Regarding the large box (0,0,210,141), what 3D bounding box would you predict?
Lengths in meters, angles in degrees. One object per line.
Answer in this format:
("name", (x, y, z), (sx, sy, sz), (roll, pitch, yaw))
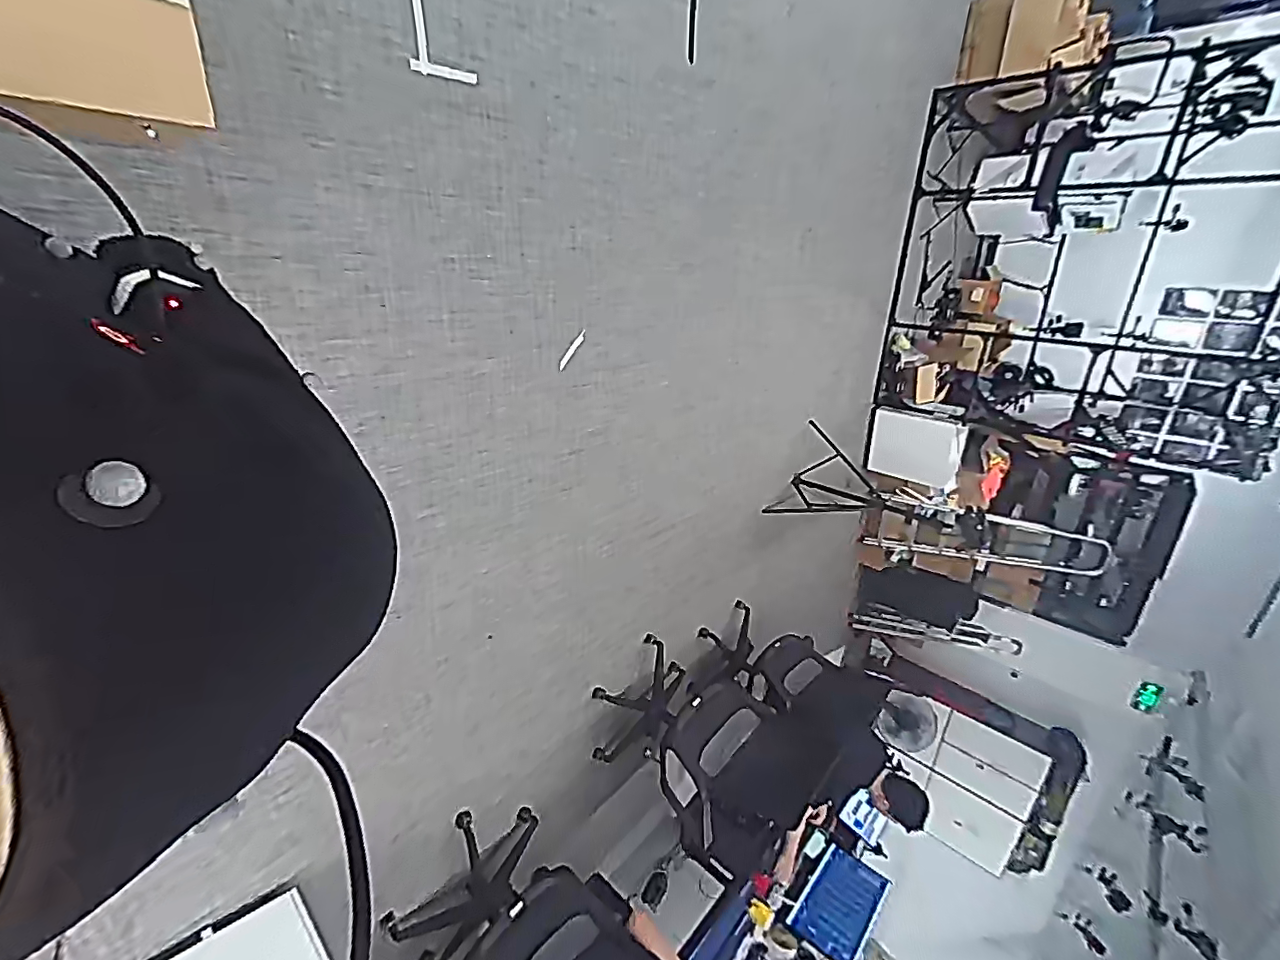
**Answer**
("large box", (-0.878, -0.655, 0.701), (0.408, 0.320, 0.320), (-22, 122, -45))
